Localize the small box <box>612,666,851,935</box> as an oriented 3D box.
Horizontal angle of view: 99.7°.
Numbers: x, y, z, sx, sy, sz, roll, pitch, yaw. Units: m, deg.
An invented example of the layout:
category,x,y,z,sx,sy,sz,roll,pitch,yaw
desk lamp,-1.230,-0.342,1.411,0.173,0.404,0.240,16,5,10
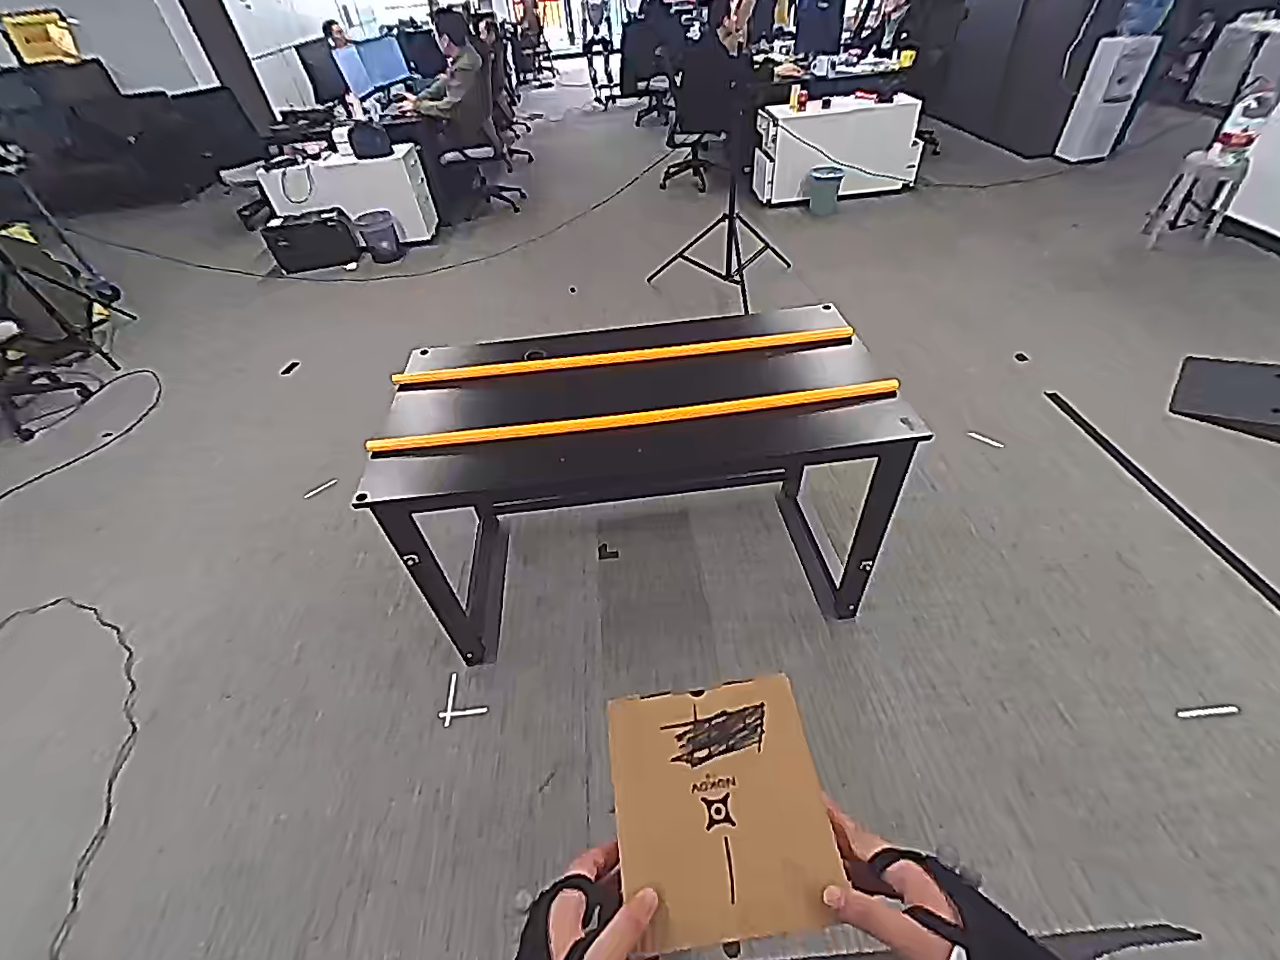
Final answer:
category,x,y,z,sx,sy,sz,roll,pitch,yaw
small box,0.069,0.296,0.503,0.168,0.176,0.179,-9,53,0
